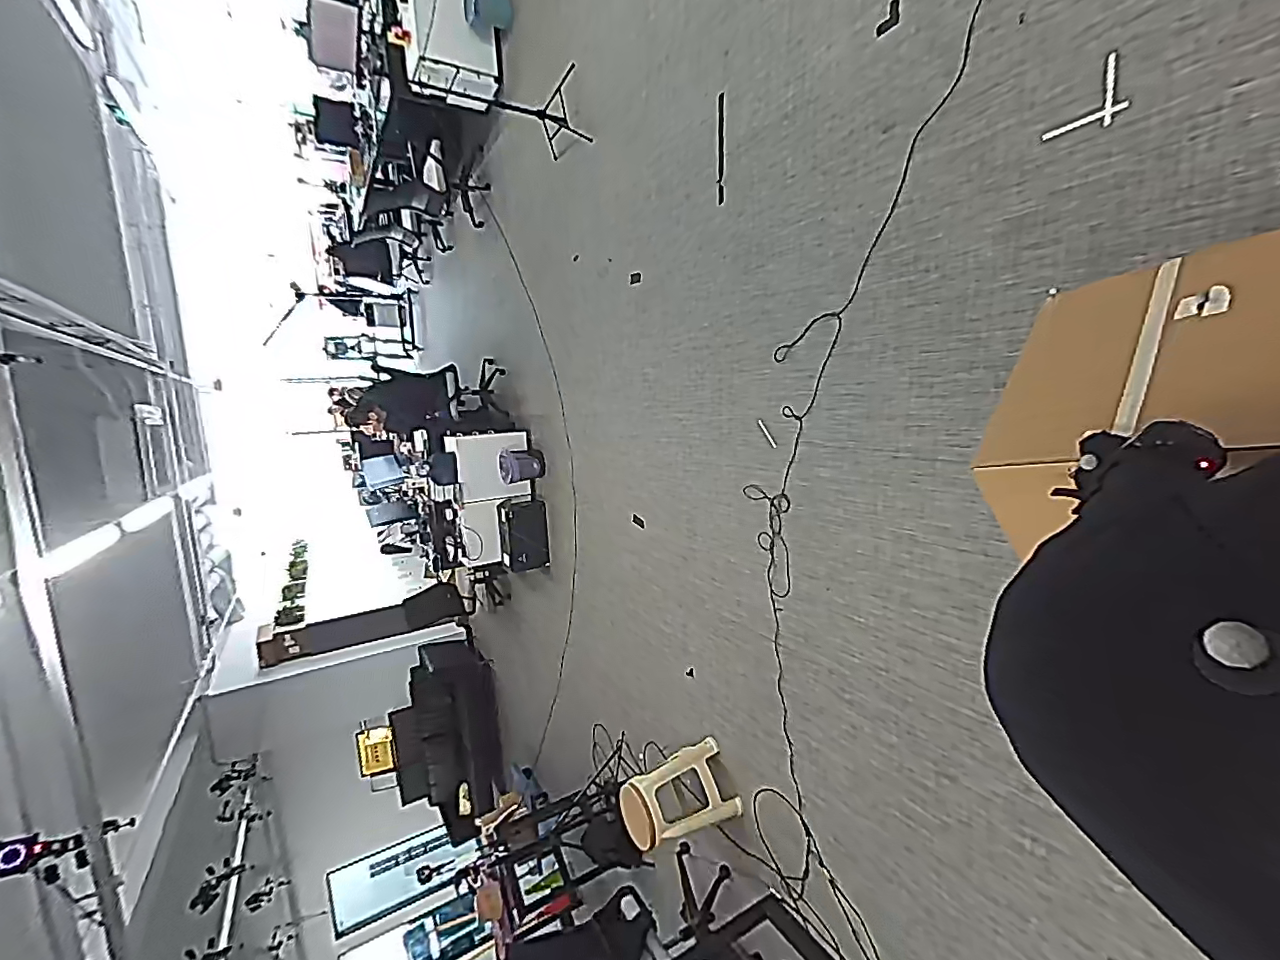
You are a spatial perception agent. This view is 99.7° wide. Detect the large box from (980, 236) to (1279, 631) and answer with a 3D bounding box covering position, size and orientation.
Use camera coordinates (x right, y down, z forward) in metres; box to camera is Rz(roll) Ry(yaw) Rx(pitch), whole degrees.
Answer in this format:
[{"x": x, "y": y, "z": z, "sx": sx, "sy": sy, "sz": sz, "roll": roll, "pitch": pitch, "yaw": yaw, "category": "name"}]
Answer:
[{"x": 0.741, "y": -0.056, "z": 0.737, "sx": 0.320, "sy": 0.408, "sz": 0.320, "roll": 50, "pitch": 154, "yaw": -21, "category": "large box"}]
